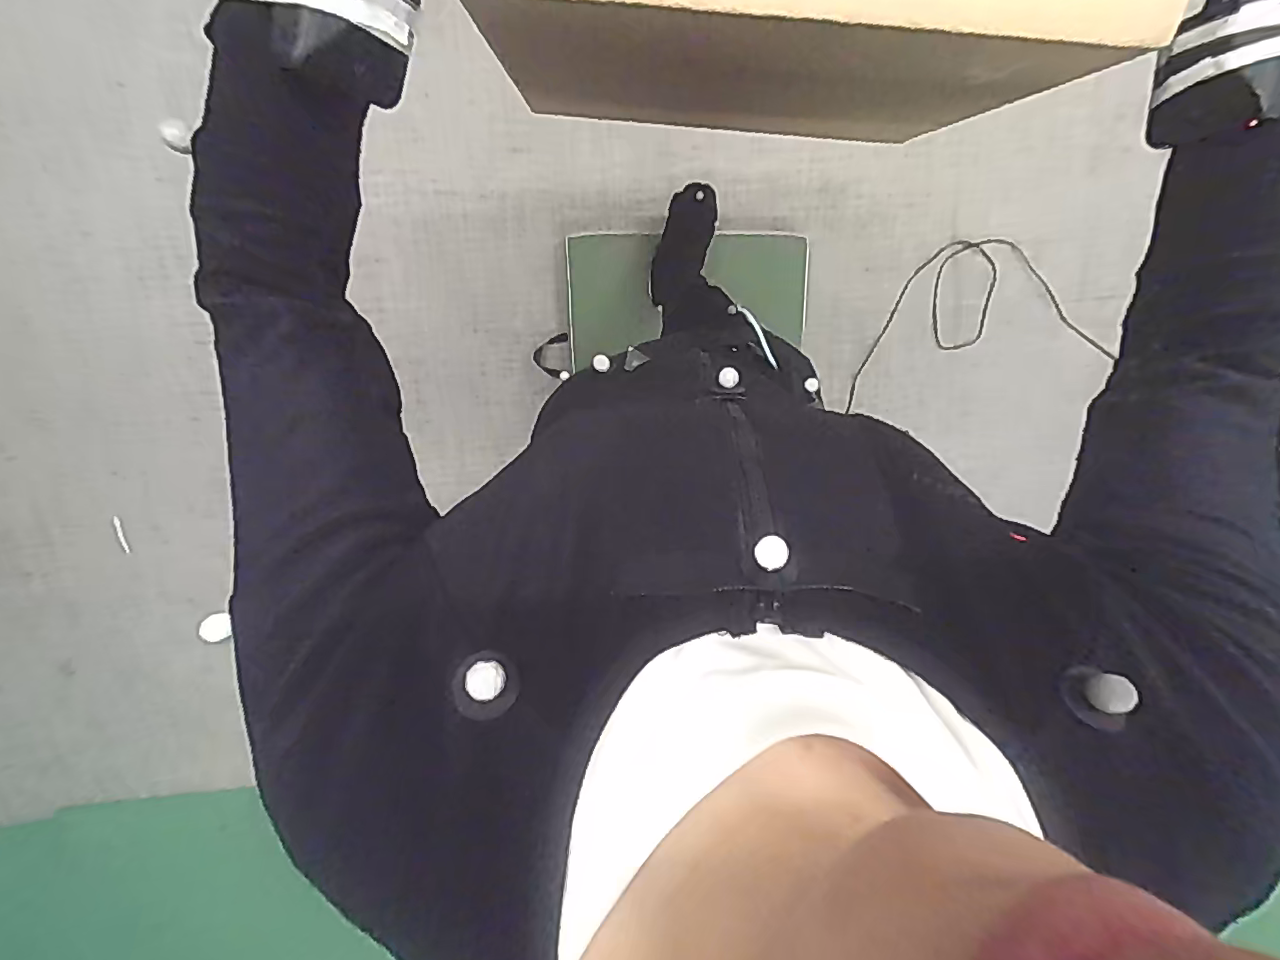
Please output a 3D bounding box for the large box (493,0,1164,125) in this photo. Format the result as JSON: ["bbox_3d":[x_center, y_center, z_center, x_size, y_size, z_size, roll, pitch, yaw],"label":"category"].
[{"bbox_3d":[0.102,-0.469,0.381,0.408,0.320,0.320,1,114,-4],"label":"large box"}]
